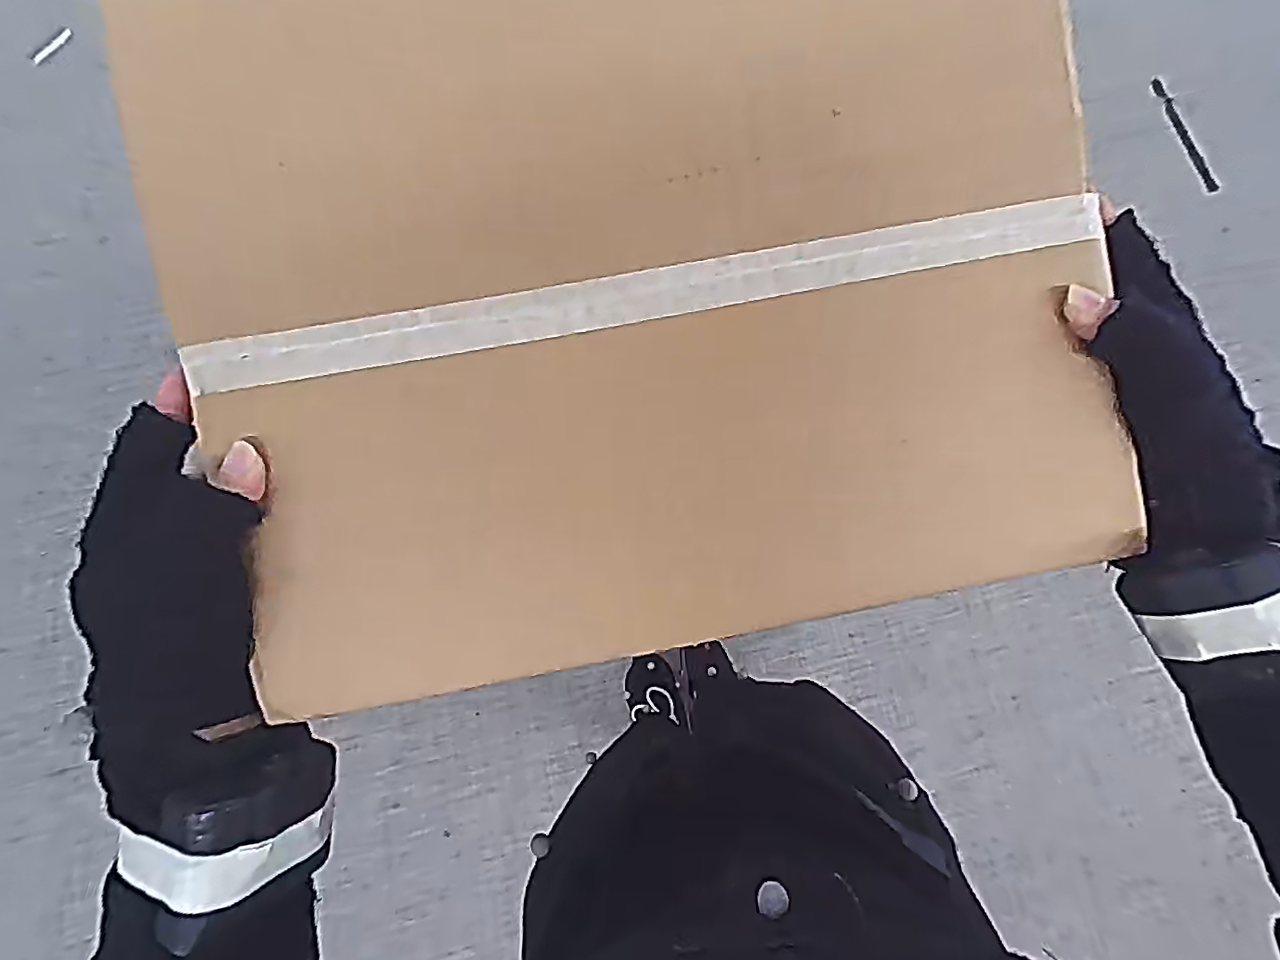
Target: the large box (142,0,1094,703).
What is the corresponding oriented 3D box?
[{"bbox_3d":[-0.001,-0.091,0.398,0.408,0.320,0.320,-10,93,-3],"label":"large box"}]
